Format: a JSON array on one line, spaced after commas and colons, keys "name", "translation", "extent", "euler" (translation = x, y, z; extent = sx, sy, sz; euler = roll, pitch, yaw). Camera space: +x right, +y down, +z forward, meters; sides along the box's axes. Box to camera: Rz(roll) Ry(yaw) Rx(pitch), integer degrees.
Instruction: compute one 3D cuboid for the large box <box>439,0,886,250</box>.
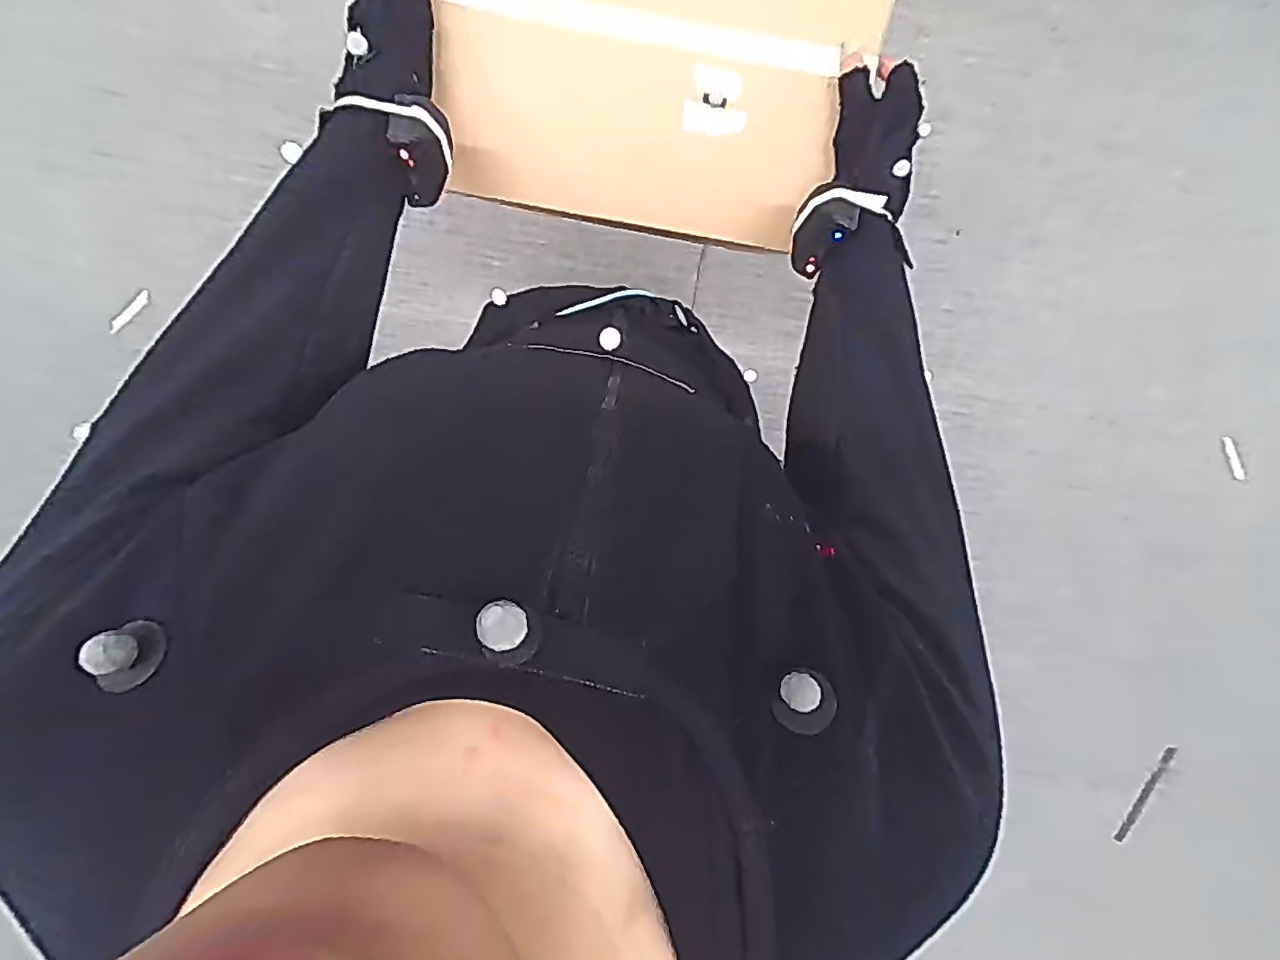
[{"name": "large box", "translation": [0.013, -0.465, 0.632], "extent": [0.408, 0.320, 0.320], "euler": [8, 114, -4]}]
